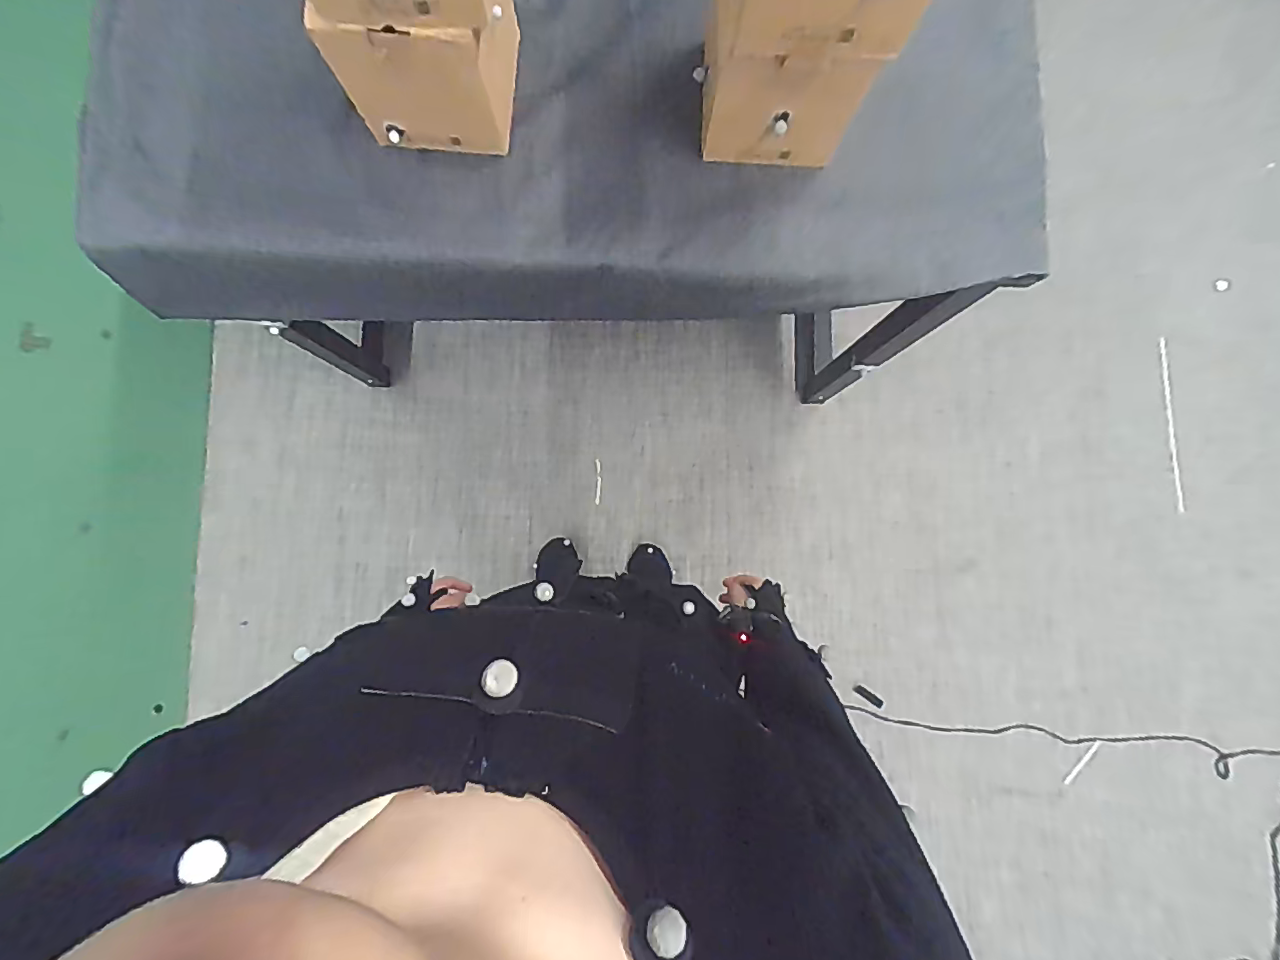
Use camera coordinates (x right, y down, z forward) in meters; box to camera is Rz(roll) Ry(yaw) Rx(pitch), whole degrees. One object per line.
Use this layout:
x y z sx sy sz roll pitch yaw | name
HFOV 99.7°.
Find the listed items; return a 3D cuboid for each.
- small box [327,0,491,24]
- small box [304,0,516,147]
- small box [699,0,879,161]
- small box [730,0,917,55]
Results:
-0.222 -0.542 0.454 0.168 0.176 0.179 1 84 -1 | small box
-0.243 -0.519 0.617 0.168 0.176 0.179 4 83 -2 | small box
0.163 -0.505 0.628 0.168 0.176 0.179 2 85 -2 | small box
0.174 -0.515 0.466 0.168 0.176 0.179 2 84 -2 | small box
